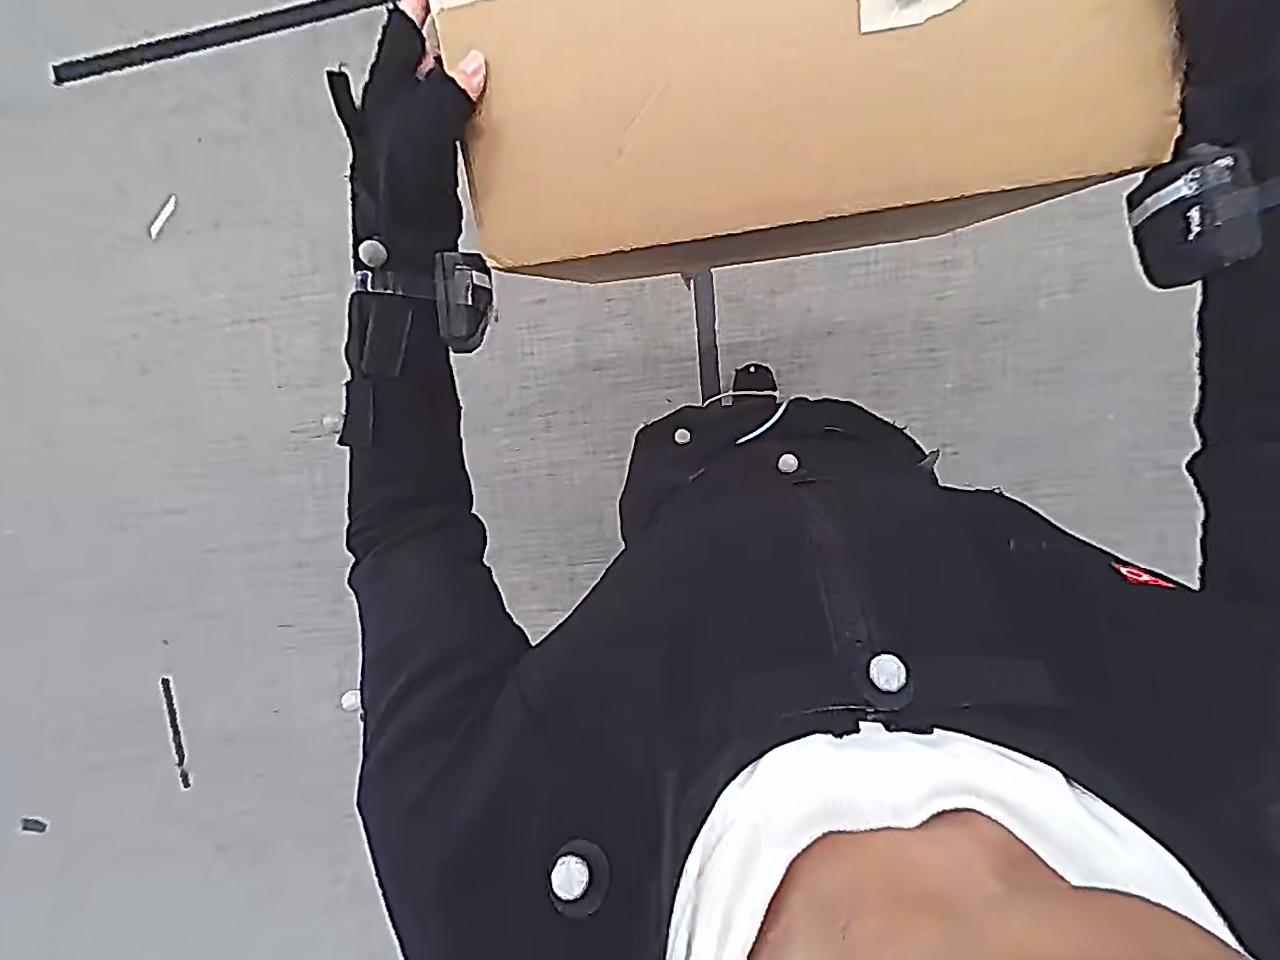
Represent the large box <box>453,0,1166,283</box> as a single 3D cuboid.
[{"bbox_3d":[0.094,-0.360,0.442,0.408,0.320,0.320,-6,108,9],"label":"large box"}]
